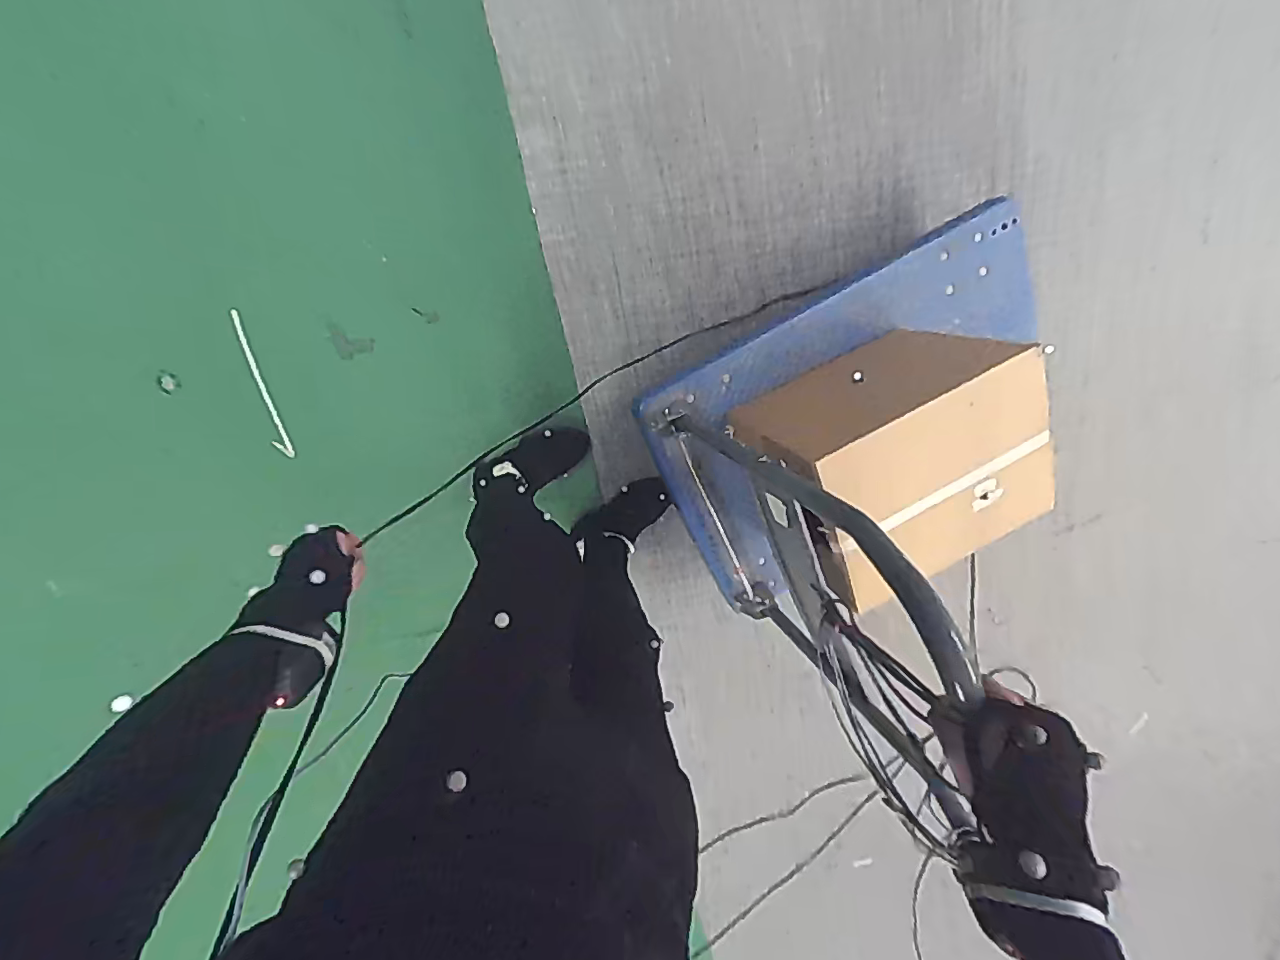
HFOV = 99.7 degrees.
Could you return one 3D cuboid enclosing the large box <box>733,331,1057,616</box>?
[{"bbox_3d":[0.446,-0.036,0.984,0.408,0.320,0.320,-27,116,-6],"label":"large box"}]
